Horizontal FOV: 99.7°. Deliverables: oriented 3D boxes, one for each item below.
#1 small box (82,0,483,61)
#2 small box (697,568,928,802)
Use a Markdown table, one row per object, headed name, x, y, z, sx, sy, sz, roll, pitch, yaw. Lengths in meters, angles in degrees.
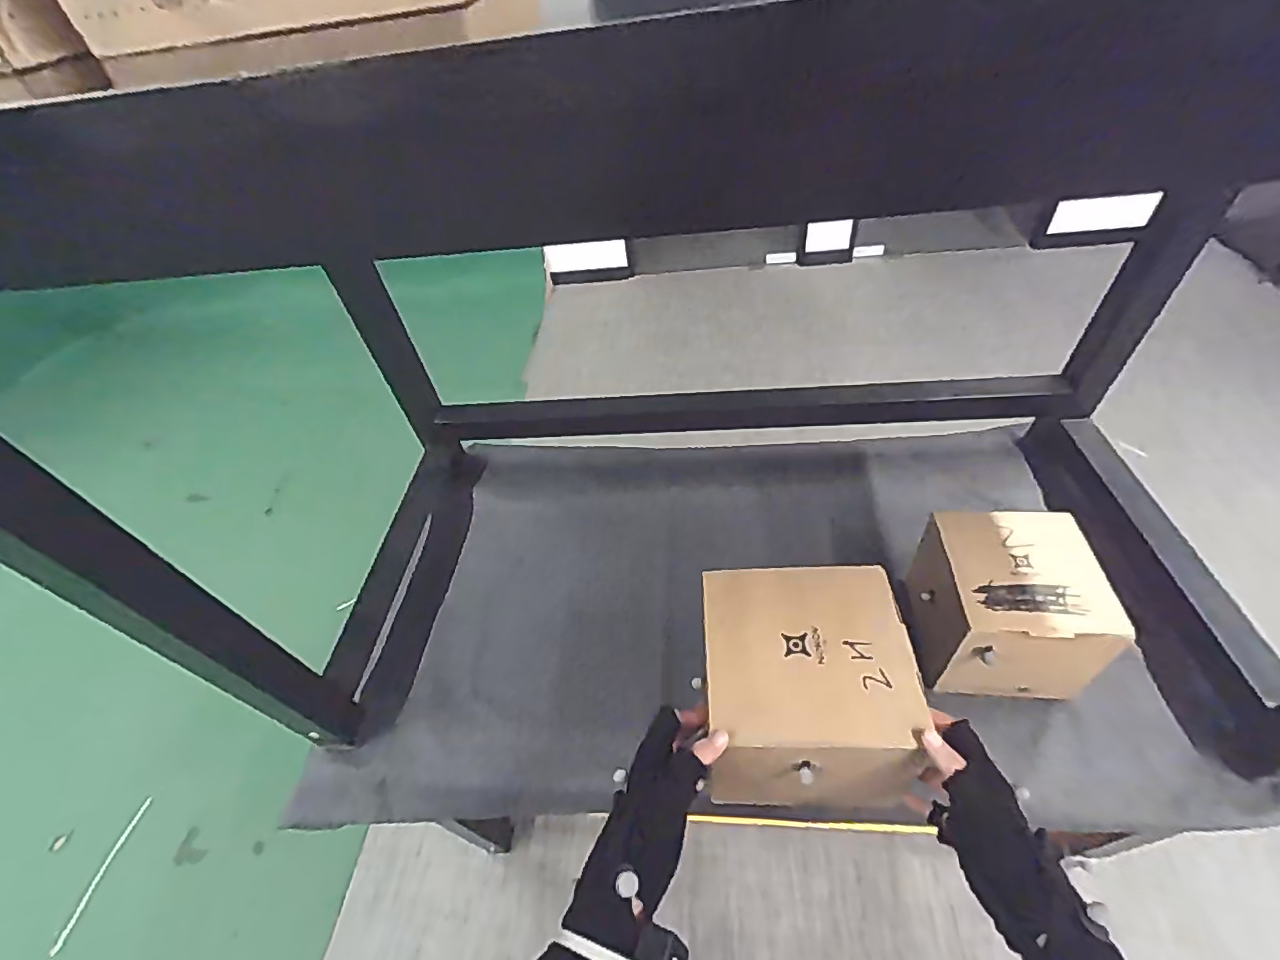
| name | x | y | z | sx | sy | sz | roll | pitch | yaw |
| --- | --- | --- | --- | --- | --- | --- | --- | --- | --- |
| small box | -0.161 | -0.297 | 0.226 | 0.168 | 0.176 | 0.179 | -3 | 47 | 6 |
| small box | 0.149 | 0.203 | 0.531 | 0.179 | 0.176 | 0.168 | -2 | 46 | 7 |
